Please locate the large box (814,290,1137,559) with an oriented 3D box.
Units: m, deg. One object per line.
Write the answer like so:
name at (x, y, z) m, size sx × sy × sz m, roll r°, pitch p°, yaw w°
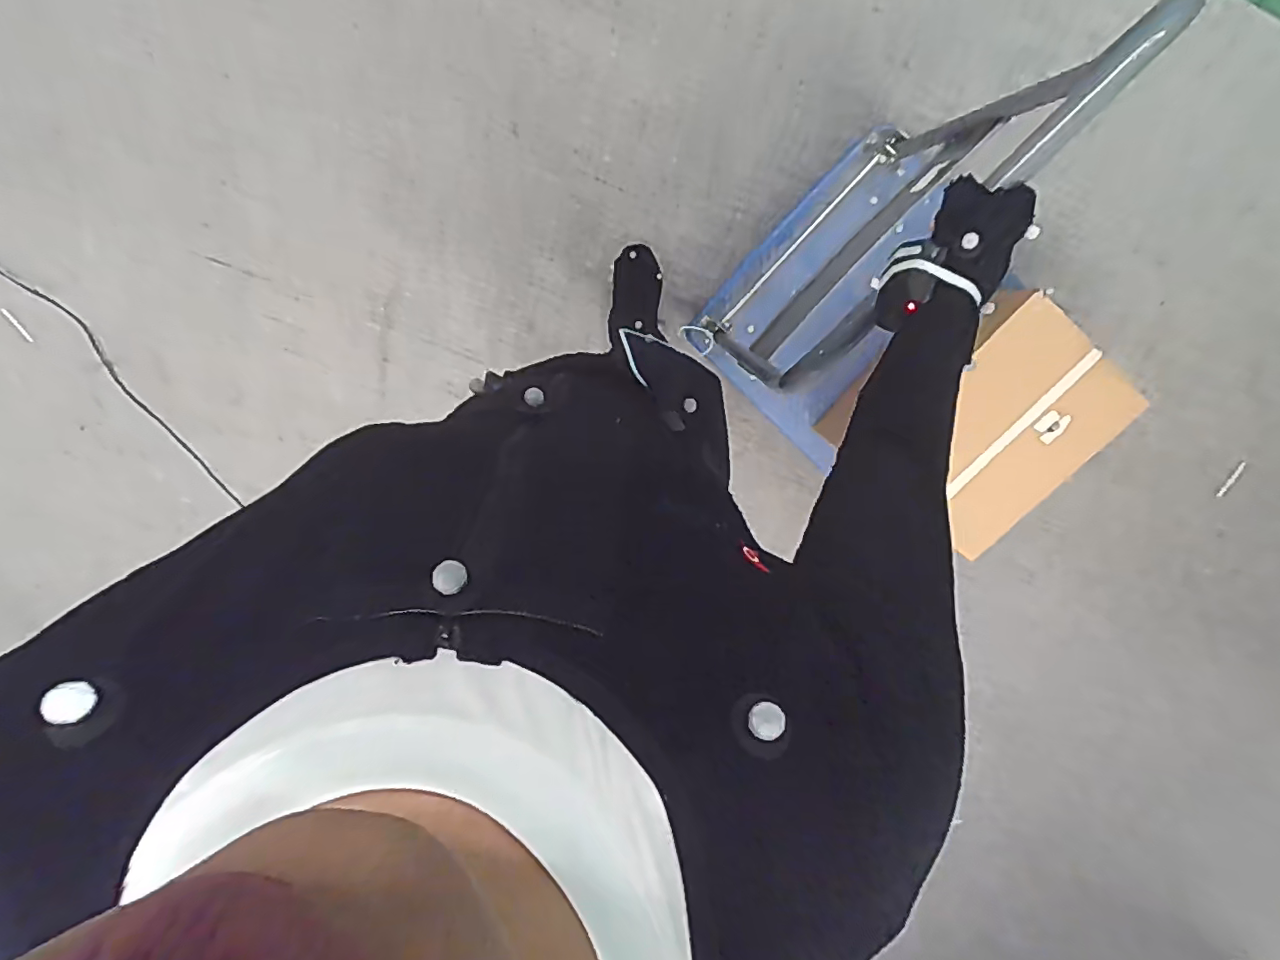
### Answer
large box at (0.642, -0.125, 1.116) m, size 0.320 × 0.320 × 0.408 m, roll 38°, pitch 104°, yaw -12°
